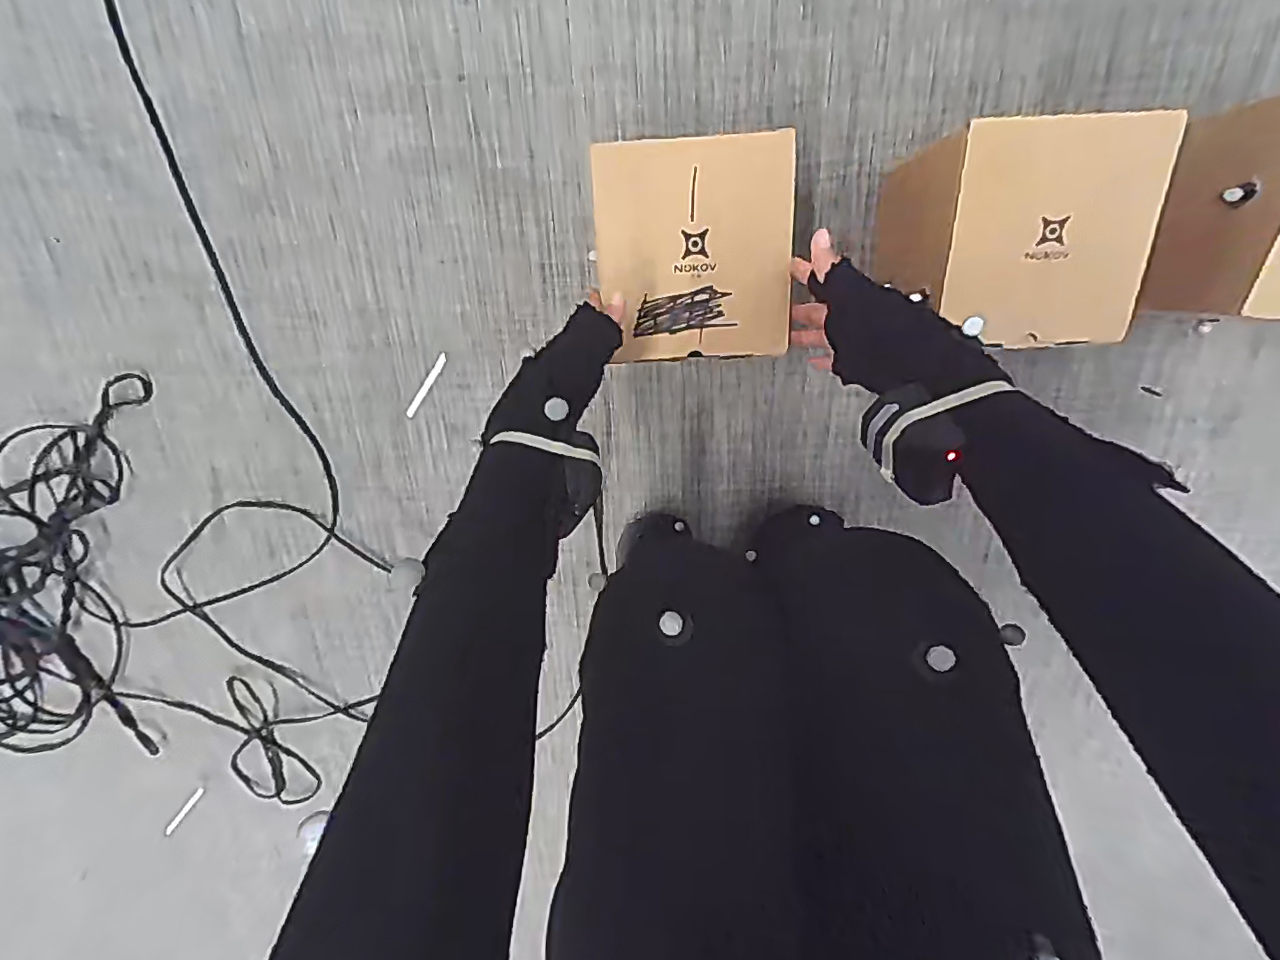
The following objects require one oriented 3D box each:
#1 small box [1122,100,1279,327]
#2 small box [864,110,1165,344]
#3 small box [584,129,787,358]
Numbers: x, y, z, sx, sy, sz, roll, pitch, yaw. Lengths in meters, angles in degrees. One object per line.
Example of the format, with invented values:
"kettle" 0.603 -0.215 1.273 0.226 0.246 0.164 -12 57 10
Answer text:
"small box" 0.588 -0.243 0.512 0.168 0.176 0.179 7 111 1
"small box" 0.333 -0.229 0.525 0.168 0.176 0.179 -2 109 3
"small box" 0.041 -0.222 0.535 0.168 0.176 0.179 -2 109 2
